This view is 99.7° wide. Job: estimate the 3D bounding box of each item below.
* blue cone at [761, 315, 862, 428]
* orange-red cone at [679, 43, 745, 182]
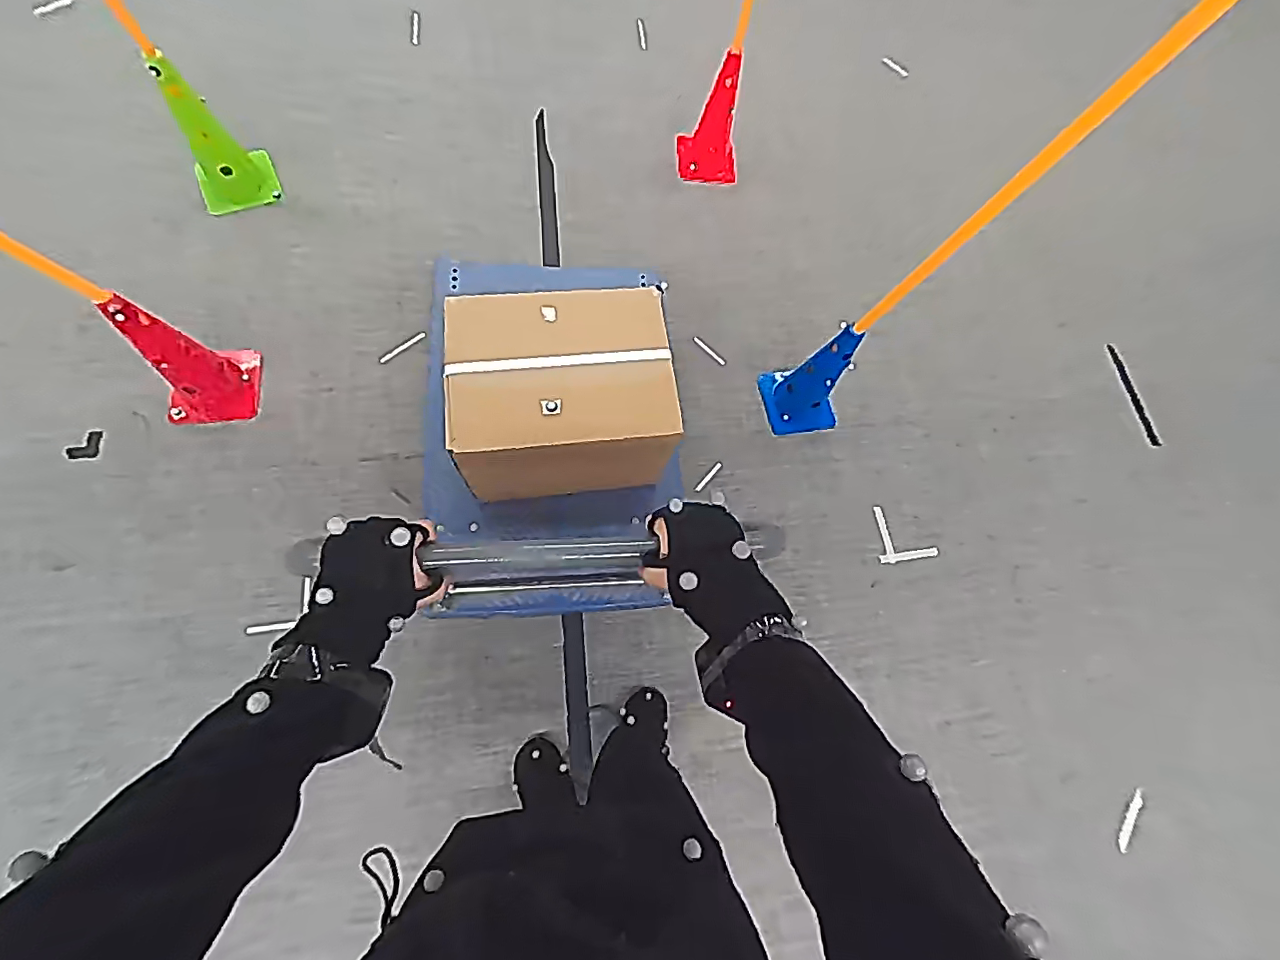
[{"bbox_3d":[0.480,-0.296,1.422,0.193,0.380,0.192,-8,71,-10],"label":"blue cone"},{"bbox_3d":[0.254,-1.145,1.664,0.199,0.360,0.198,3,72,-8],"label":"orange-red cone"}]
